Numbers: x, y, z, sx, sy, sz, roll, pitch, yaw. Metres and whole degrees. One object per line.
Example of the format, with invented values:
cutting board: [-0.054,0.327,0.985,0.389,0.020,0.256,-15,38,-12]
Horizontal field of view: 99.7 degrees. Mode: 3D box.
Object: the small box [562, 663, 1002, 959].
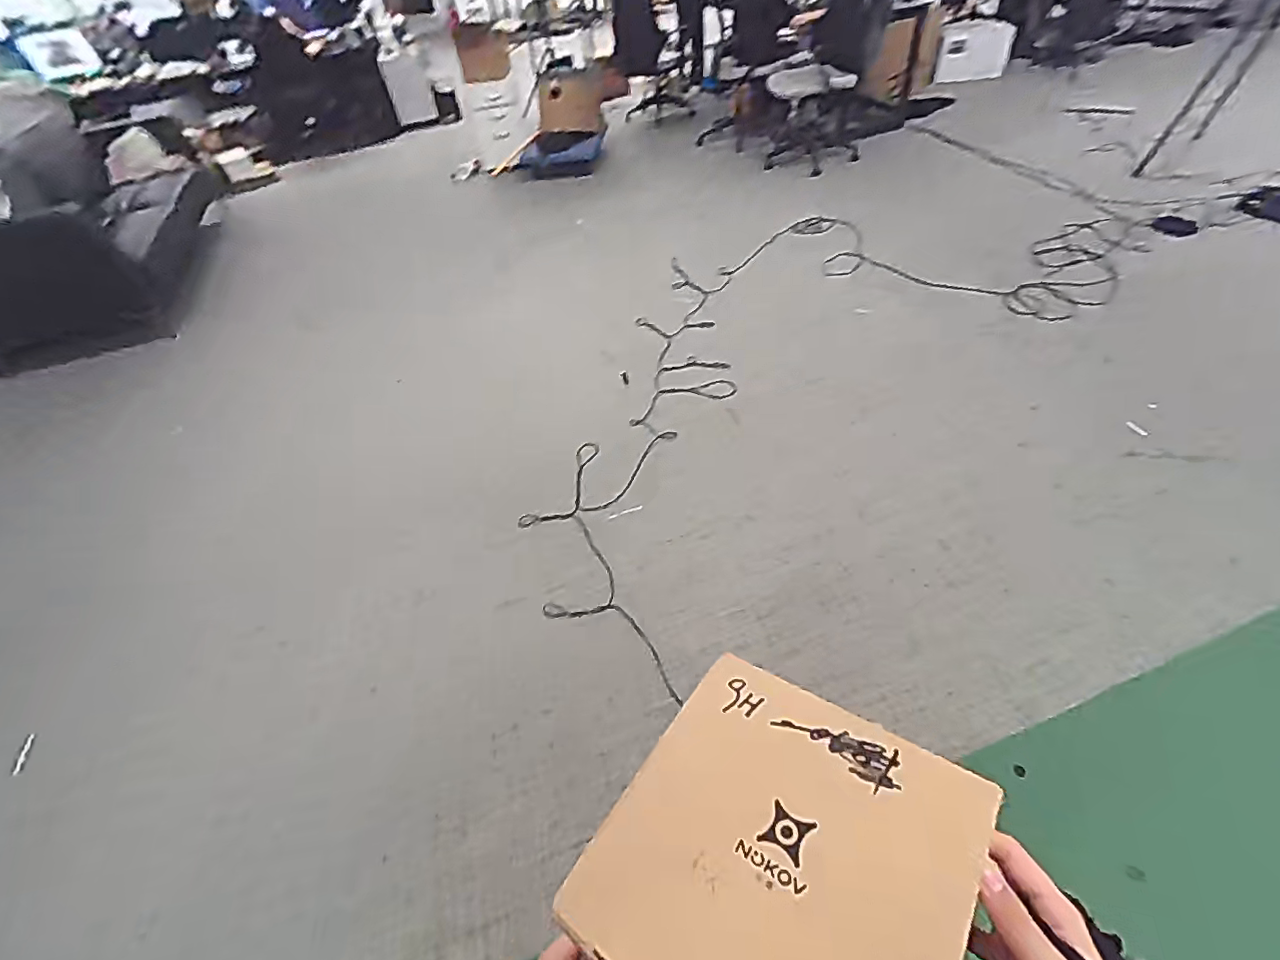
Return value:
small box: [0.088,0.256,0.323,0.168,0.176,0.179,18,47,35]
